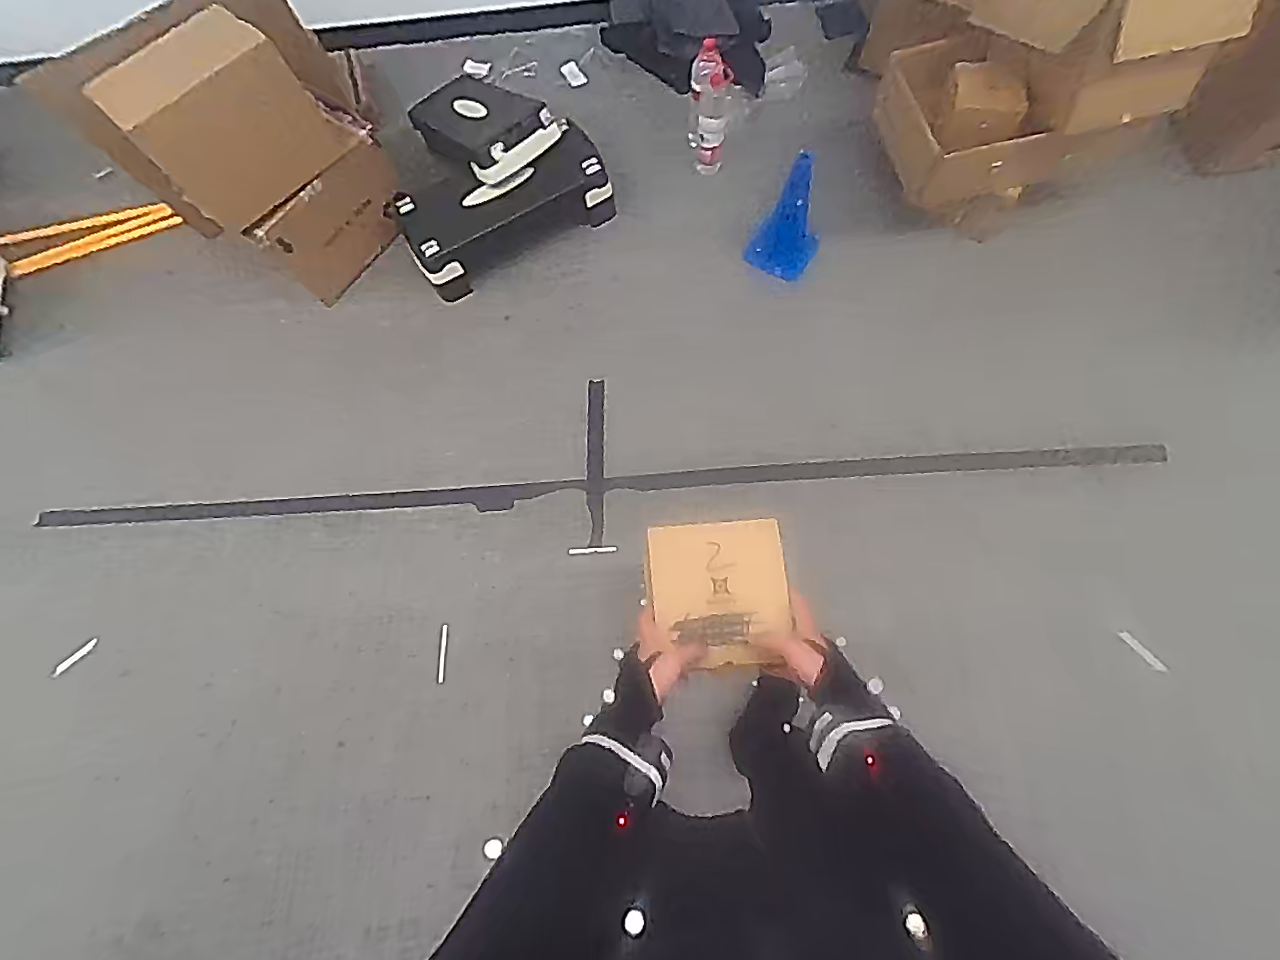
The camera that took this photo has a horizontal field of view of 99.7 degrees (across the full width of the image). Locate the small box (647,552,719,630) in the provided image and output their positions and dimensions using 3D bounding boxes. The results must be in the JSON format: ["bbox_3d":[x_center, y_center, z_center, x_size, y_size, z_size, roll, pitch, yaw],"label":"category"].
[{"bbox_3d":[0.109,0.294,1.405,0.168,0.176,0.179,-6,73,3],"label":"small box"}]
